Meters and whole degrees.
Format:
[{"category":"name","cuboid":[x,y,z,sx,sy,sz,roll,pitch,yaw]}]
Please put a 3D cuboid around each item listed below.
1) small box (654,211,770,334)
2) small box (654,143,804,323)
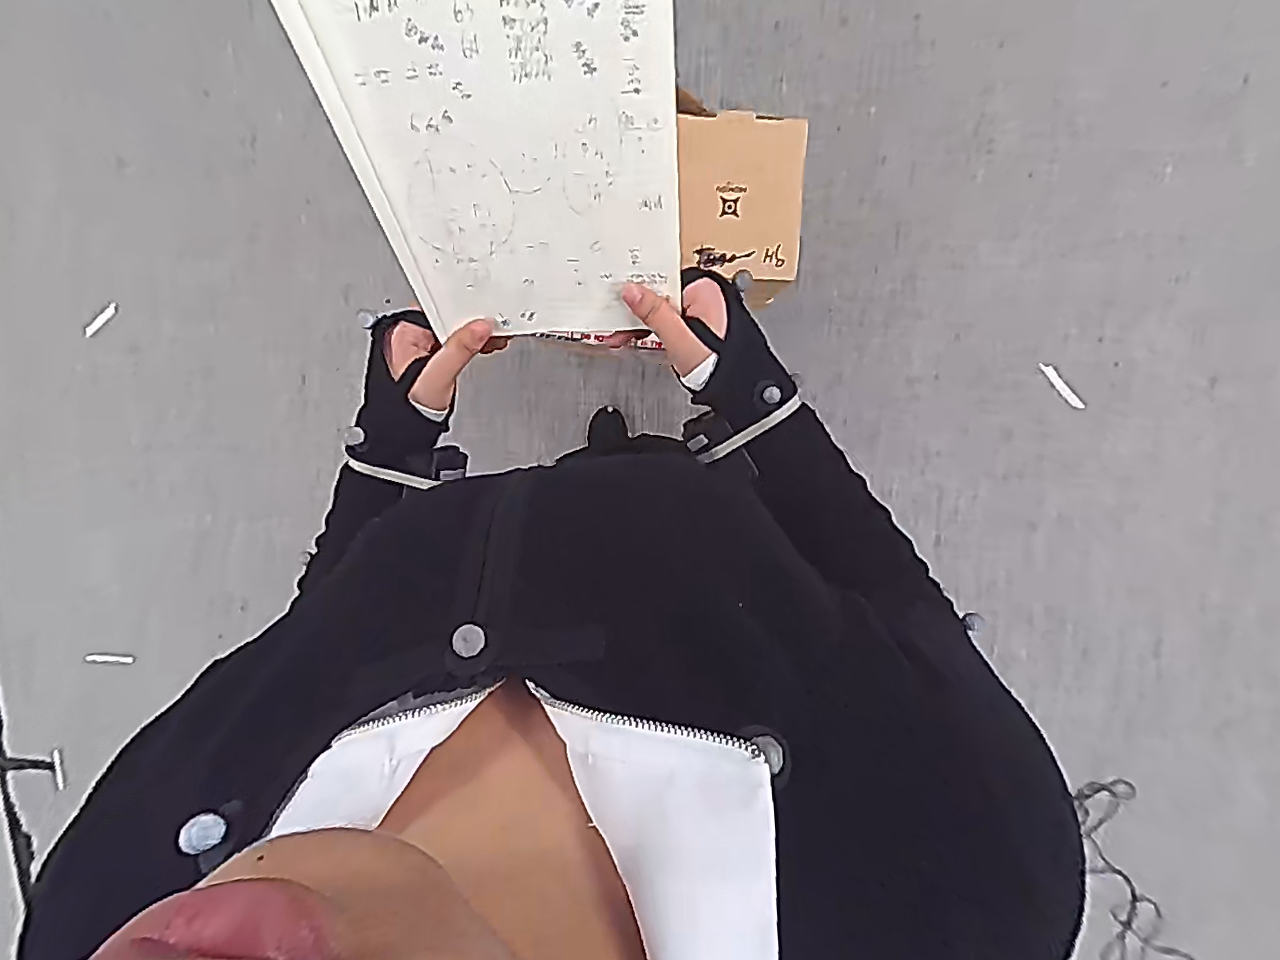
[{"category":"small box","cuboid":[0.111,-0.331,0.880,0.179,0.176,0.168,0,99,2]},{"category":"small box","cuboid":[0.106,-0.313,0.717,0.168,0.176,0.179,2,99,0]}]
